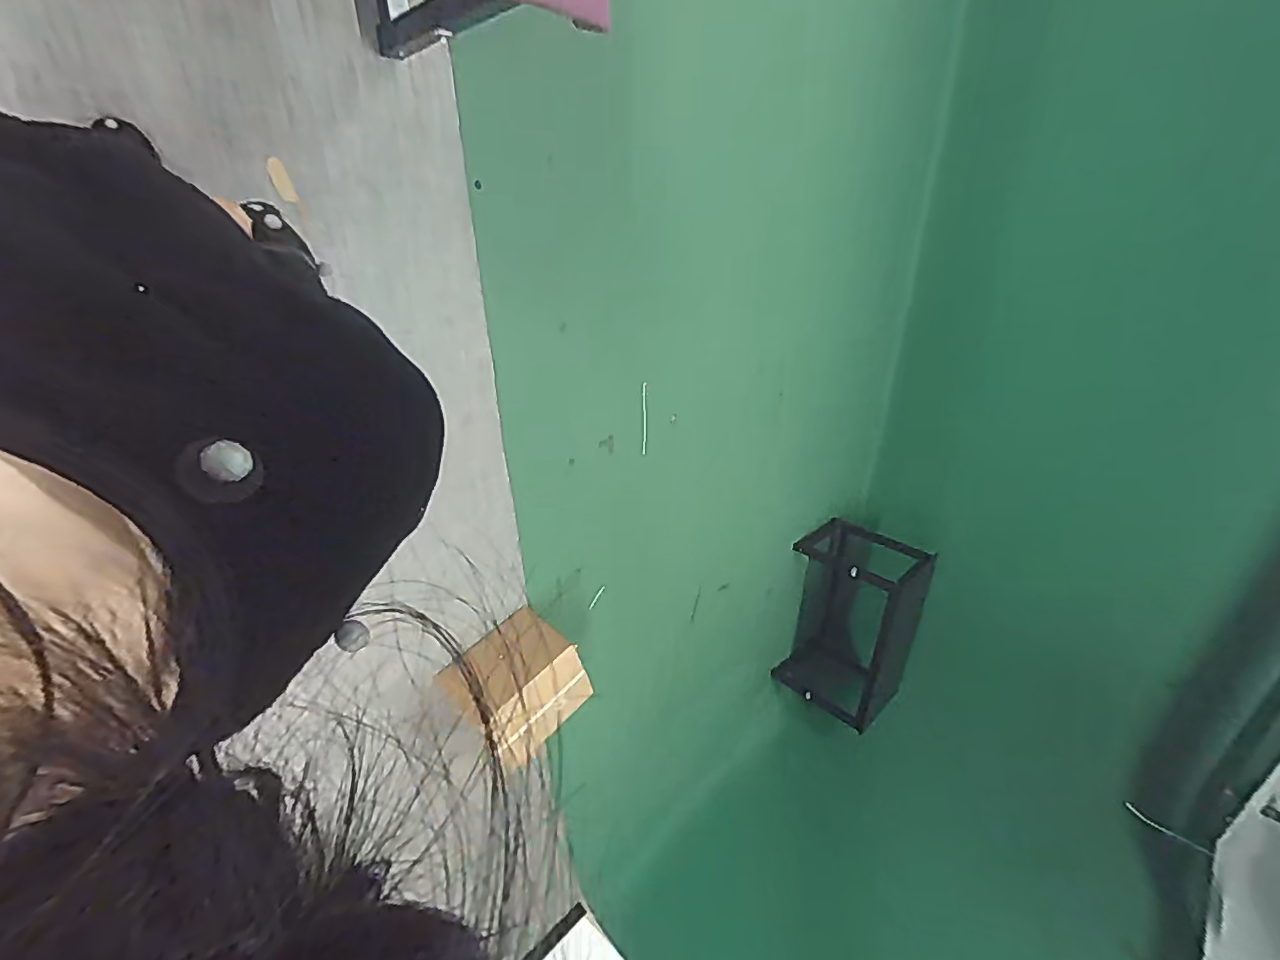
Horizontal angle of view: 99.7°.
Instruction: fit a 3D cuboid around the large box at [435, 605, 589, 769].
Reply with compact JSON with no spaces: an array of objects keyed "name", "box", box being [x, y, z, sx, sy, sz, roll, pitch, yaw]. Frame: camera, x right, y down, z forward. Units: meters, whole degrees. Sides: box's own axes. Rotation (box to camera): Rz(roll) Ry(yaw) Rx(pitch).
[{"name":"large box","box":[-0.464,0.751,2.002,0.408,0.320,0.320,-38,133,-30]}]
